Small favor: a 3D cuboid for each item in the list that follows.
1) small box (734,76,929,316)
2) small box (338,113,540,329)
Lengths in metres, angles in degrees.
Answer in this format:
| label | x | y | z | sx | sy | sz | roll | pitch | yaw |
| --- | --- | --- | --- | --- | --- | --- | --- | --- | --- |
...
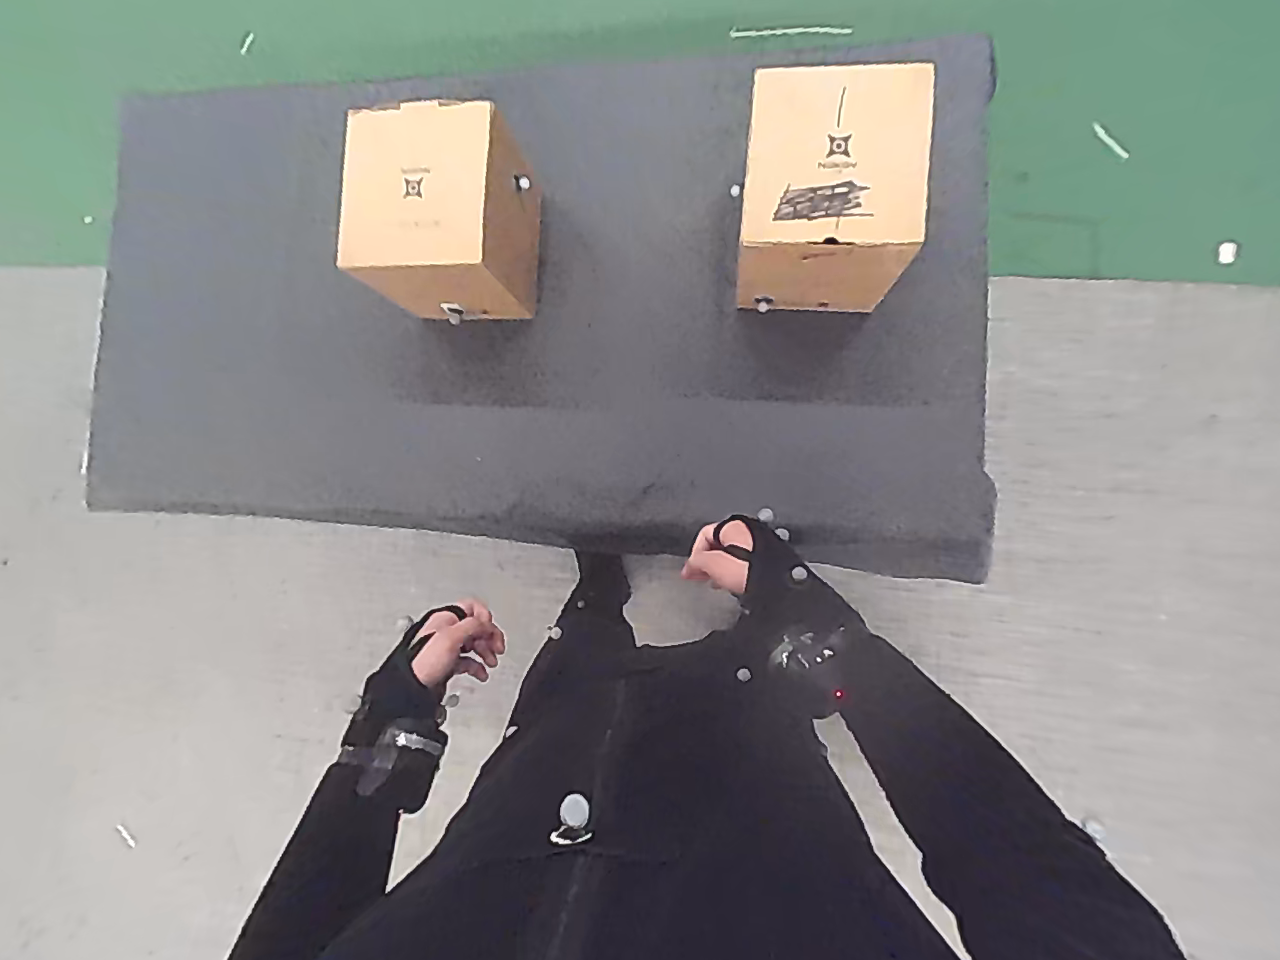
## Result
| label | x | y | z | sx | sy | sz | roll | pitch | yaw |
| --- | --- | --- | --- | --- | --- | --- | --- | --- | --- |
| small box | 0.192 | -0.290 | 0.588 | 0.168 | 0.176 | 0.179 | 4 | 87 | 8 |
| small box | -0.225 | -0.293 | 0.645 | 0.168 | 0.176 | 0.179 | 1 | 88 | 9 |
